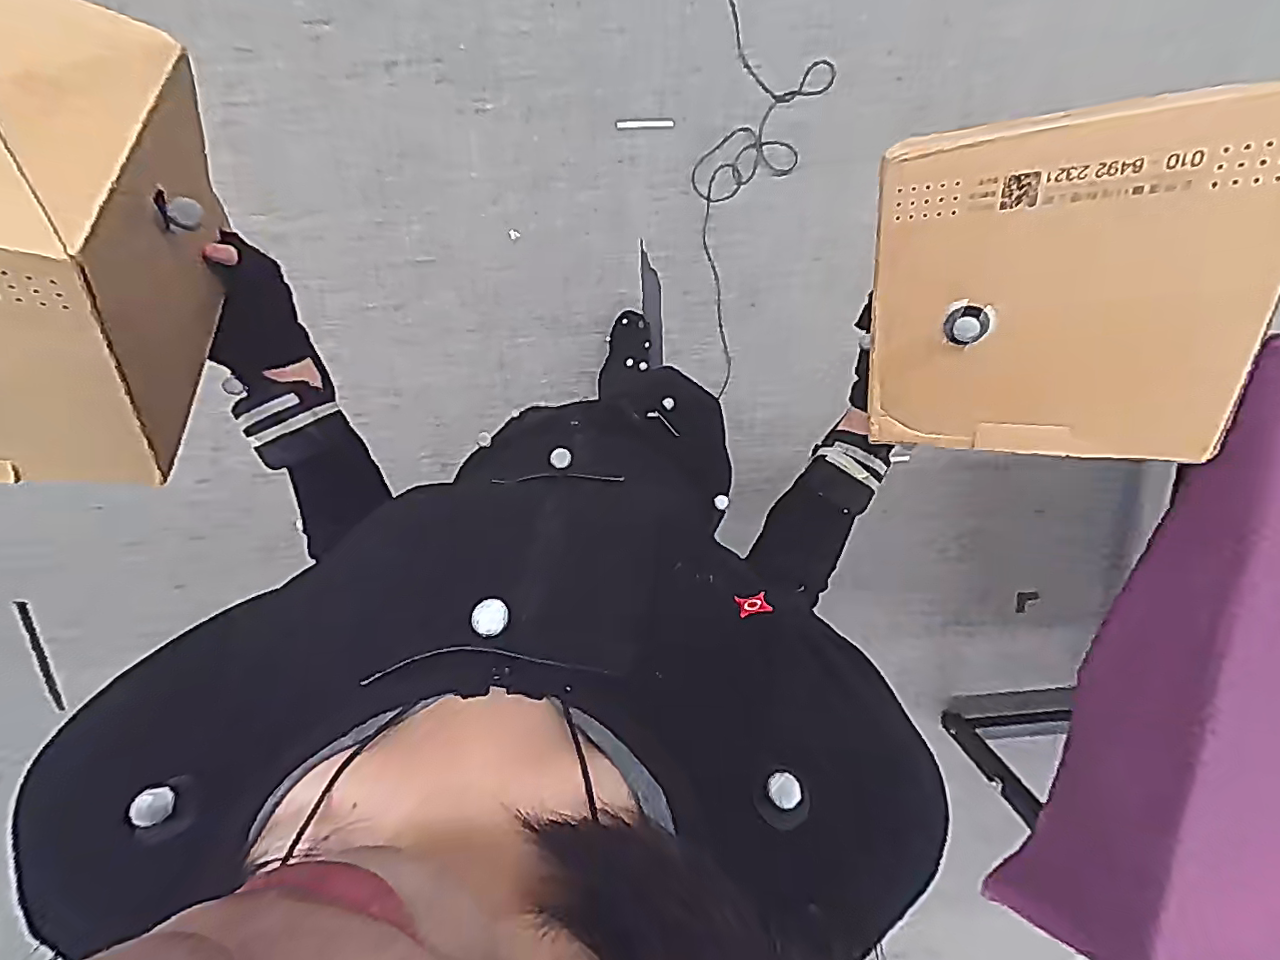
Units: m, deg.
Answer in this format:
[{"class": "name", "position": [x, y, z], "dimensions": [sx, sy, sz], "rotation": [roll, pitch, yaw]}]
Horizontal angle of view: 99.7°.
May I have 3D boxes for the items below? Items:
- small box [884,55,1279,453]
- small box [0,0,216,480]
[{"class": "small box", "position": [0.244, -0.133, 0.322], "dimensions": [0.168, 0.179, 0.176], "rotation": [7, 124, 26]}, {"class": "small box", "position": [-0.320, -0.121, 0.244], "dimensions": [0.168, 0.179, 0.176], "rotation": [6, 146, -28]}]
